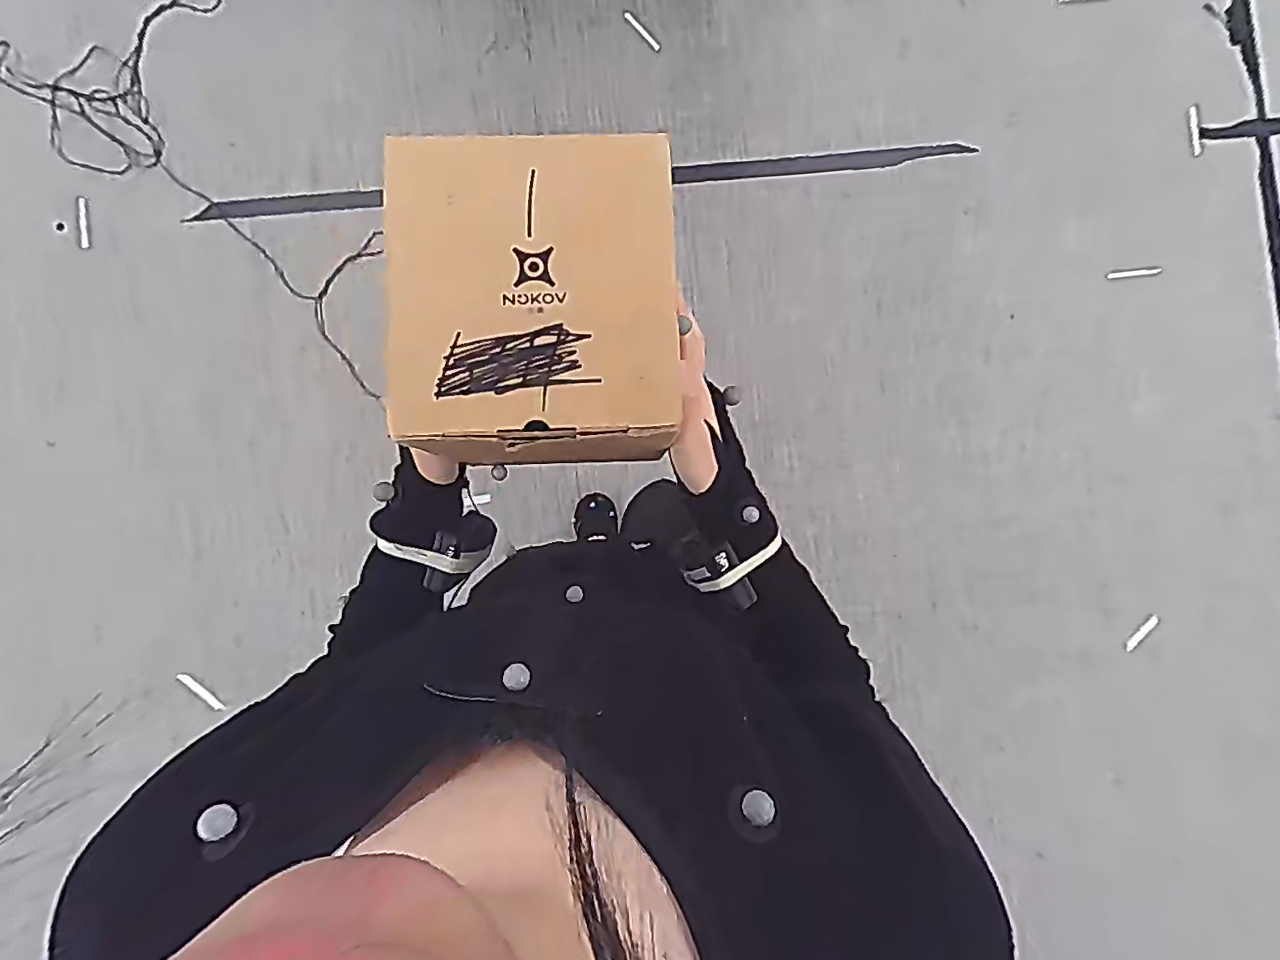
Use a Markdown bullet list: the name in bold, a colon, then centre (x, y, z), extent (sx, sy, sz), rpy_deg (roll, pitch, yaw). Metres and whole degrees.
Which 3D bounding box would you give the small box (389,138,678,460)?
- **small box**: centre (-0.063, -0.107, 0.389), extent (0.168, 0.176, 0.179), rpy_deg (-2, 85, -3)

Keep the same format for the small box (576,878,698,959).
- **small box**: centre (0.003, 0.725, 0.779), extent (0.168, 0.176, 0.179), rpy_deg (-6, 88, -1)

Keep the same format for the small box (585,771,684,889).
- **small box**: centre (-0.012, 0.722, 1.105), extent (0.179, 0.176, 0.168), rpy_deg (-7, 88, 0)
